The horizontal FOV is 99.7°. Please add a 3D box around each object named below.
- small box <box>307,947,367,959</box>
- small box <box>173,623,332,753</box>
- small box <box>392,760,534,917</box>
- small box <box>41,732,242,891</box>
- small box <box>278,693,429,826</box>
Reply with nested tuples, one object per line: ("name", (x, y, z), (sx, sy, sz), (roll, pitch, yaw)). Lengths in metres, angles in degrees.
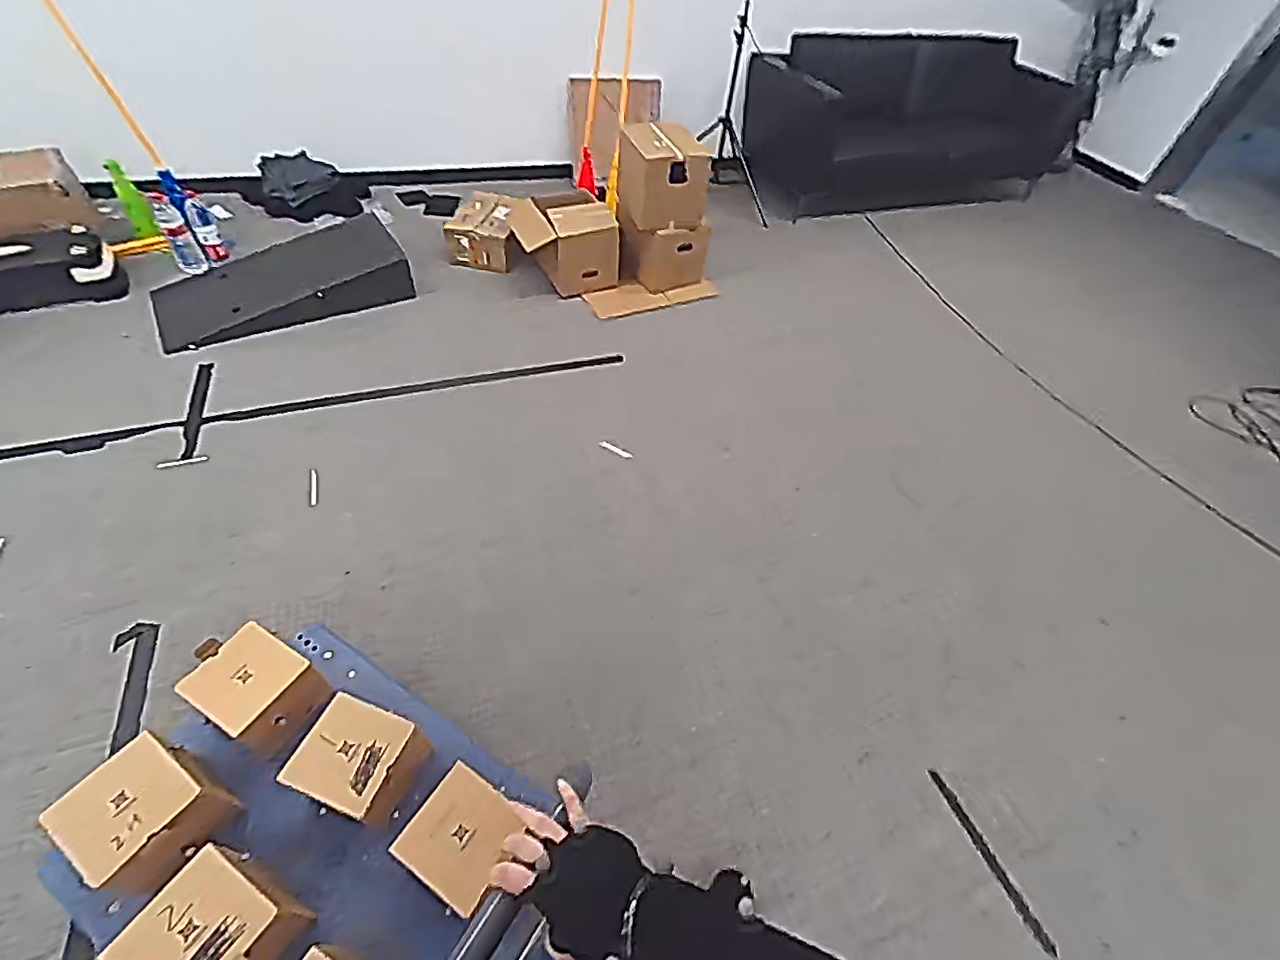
("small box", (-0.457, 0.837, 0.804), (0.179, 0.176, 0.168), (26, 50, 13))
("small box", (-0.776, 0.431, 1.105), (0.179, 0.176, 0.168), (26, 51, 13))
("small box", (-0.309, 0.653, 0.986), (0.179, 0.176, 0.168), (28, 51, 16))
("small box", (-0.863, 0.589, 0.955), (0.179, 0.176, 0.168), (30, 52, 16))
("small box", (-0.535, 0.544, 1.043), (0.179, 0.176, 0.168), (18, 50, 8))
